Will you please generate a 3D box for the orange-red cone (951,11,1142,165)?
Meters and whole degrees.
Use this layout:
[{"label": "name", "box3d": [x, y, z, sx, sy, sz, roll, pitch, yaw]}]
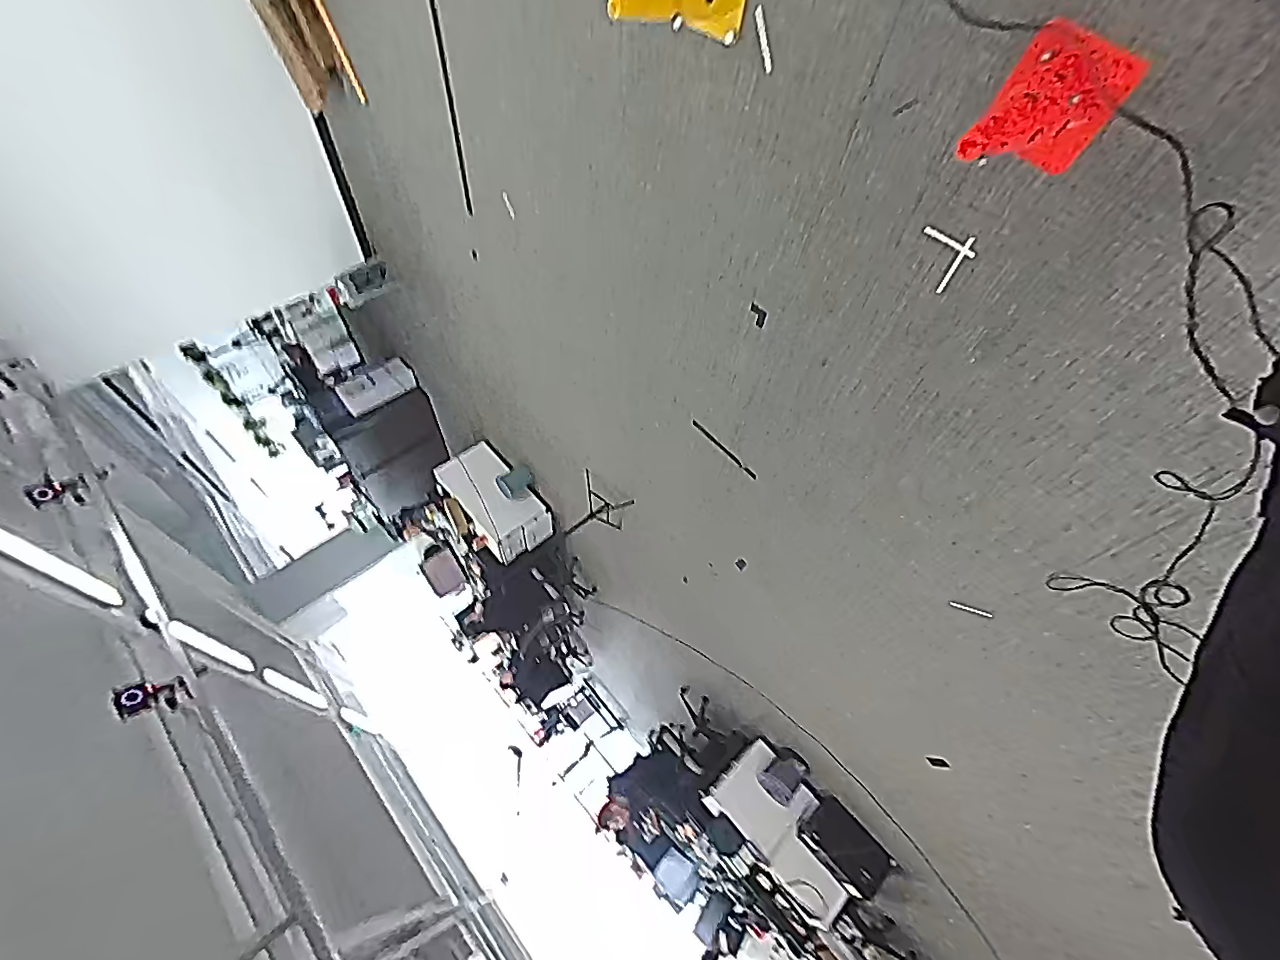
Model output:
[{"label": "orange-red cone", "box3d": [0.660, -0.645, 0.955, 0.198, 0.360, 0.199, 48, 155, 16]}]
